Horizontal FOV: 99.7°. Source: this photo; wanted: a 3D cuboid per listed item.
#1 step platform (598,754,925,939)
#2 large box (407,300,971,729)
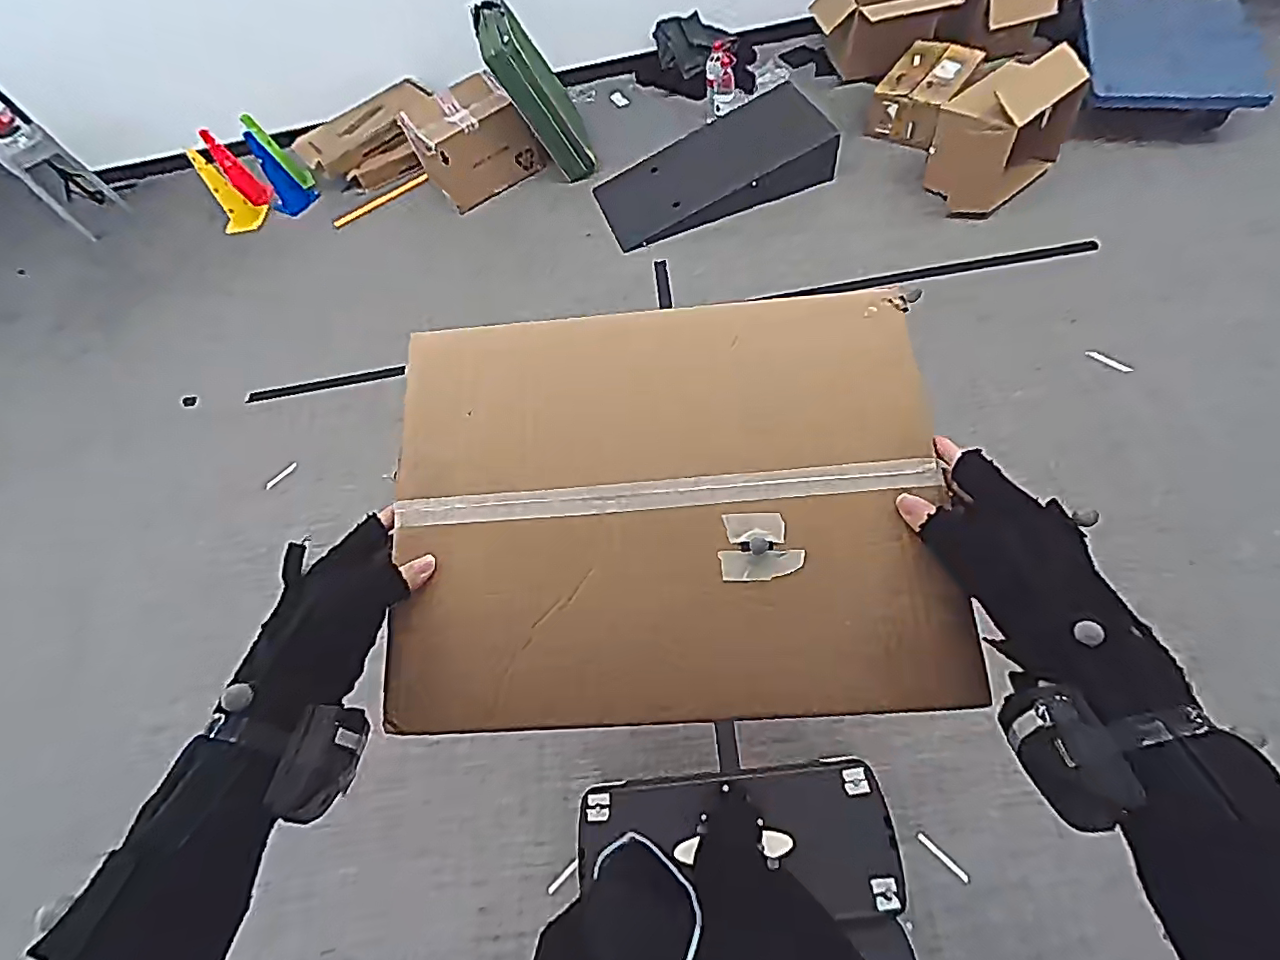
[{"bbox_3d":[0.248,0.808,1.211,0.684,0.204,0.286,-9,61,4],"label":"step platform"},{"bbox_3d":[0.029,0.056,0.560,0.408,0.320,0.320,-5,74,4],"label":"large box"}]
